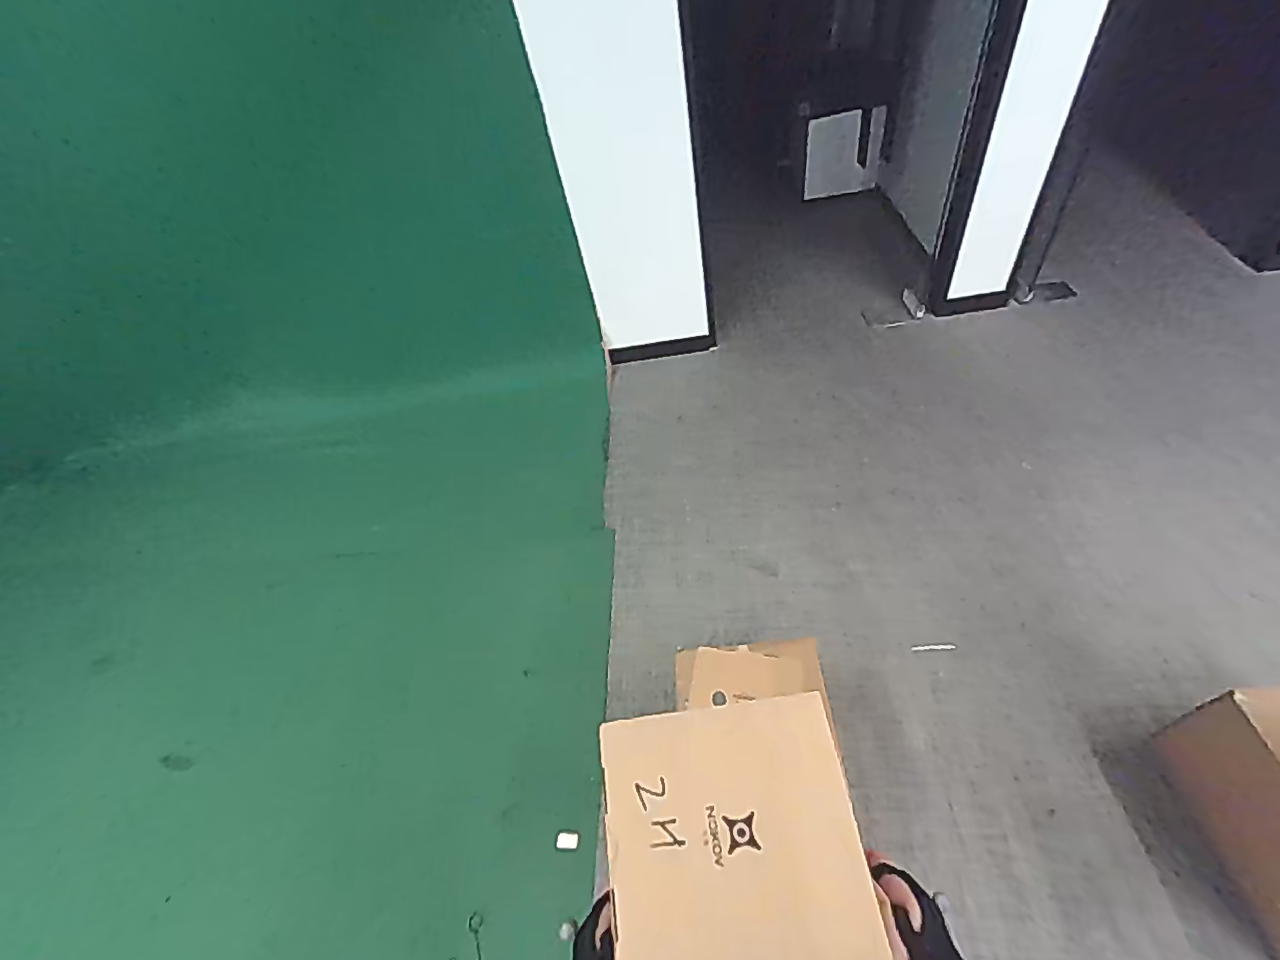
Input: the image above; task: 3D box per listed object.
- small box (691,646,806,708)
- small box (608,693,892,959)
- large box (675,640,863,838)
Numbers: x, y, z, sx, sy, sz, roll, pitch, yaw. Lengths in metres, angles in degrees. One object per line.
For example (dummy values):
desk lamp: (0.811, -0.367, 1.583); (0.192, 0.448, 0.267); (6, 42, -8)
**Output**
small box: (0.174, 0.391, 0.864); (0.168, 0.176, 0.179); (2, 51, 18)
small box: (0.078, 0.286, 0.455); (0.179, 0.176, 0.168); (-10, 59, 5)
large box: (0.265, 0.620, 1.190); (0.320, 0.320, 0.408); (-8, 47, 8)
